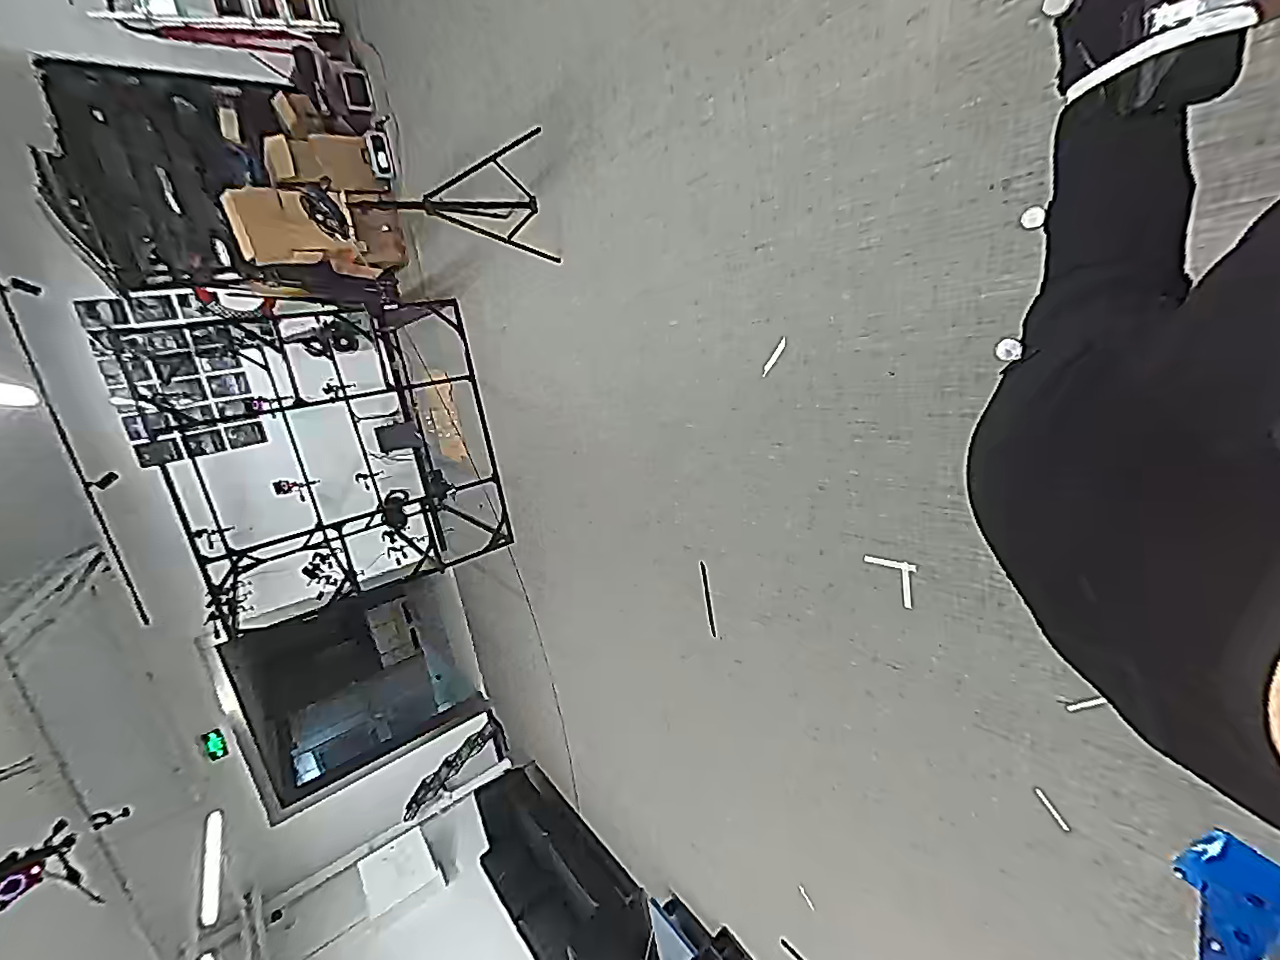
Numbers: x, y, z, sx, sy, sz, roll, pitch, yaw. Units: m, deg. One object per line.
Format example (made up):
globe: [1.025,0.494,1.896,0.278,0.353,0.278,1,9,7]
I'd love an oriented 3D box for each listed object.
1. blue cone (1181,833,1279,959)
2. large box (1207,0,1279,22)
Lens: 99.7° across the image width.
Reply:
blue cone: [1.265,0.966,1.151,0.193,0.380,0.192,38,136,42]
large box: [0.539,-0.498,0.233,0.408,0.320,0.320,8,120,52]
